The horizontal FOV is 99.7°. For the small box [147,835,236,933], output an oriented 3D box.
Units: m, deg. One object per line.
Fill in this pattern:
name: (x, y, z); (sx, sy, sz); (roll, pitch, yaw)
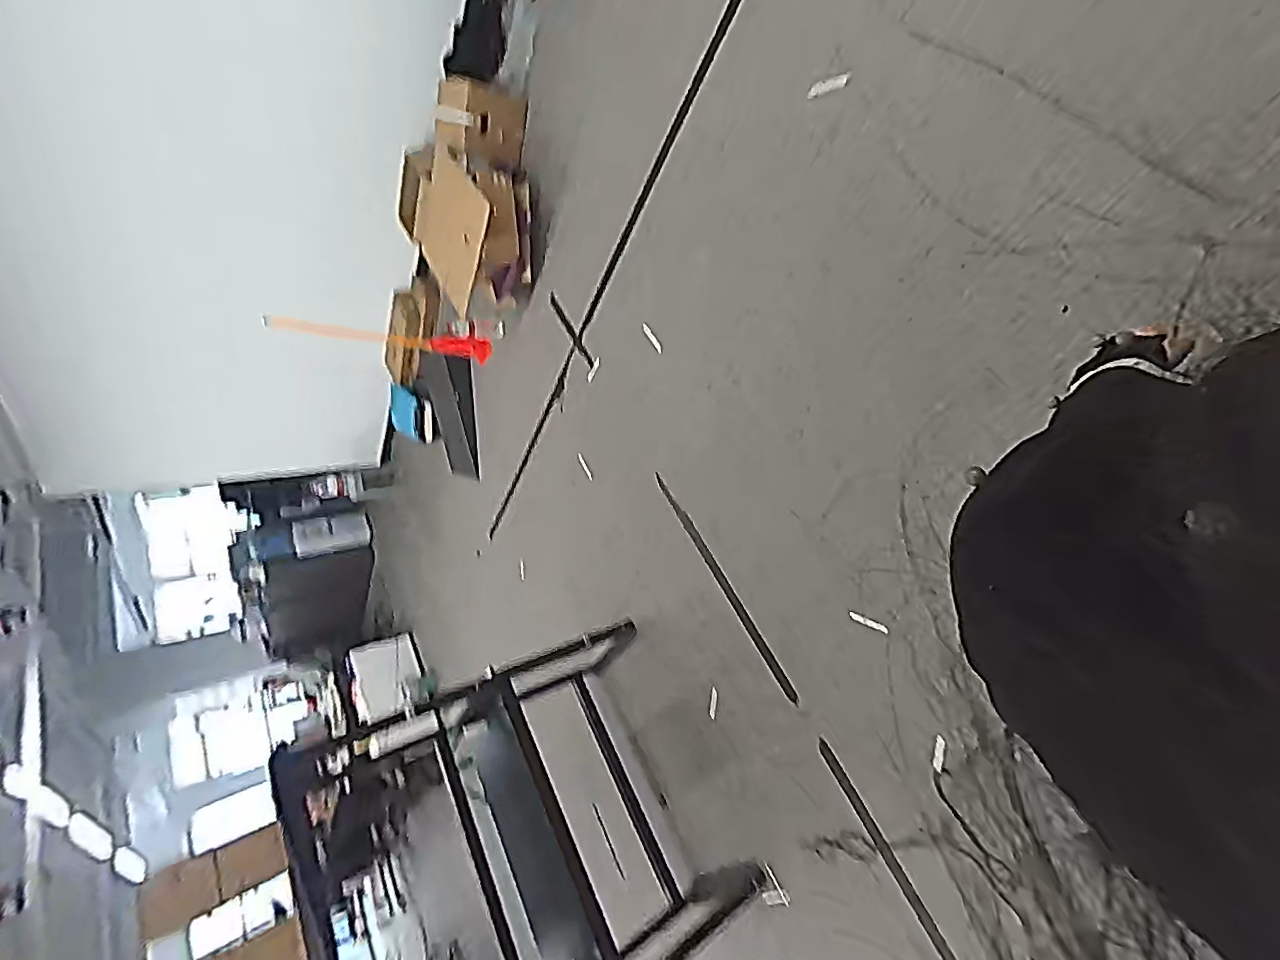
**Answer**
small box: (-1.290, 1.160, 1.564); (0.179, 0.176, 0.168); (59, 140, 22)

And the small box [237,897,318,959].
small box: (-1.051, 1.353, 1.575); (0.168, 0.176, 0.179); (62, 140, 22)

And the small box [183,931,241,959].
small box: (-1.175, 1.373, 1.469); (0.179, 0.176, 0.168); (60, 140, 20)
